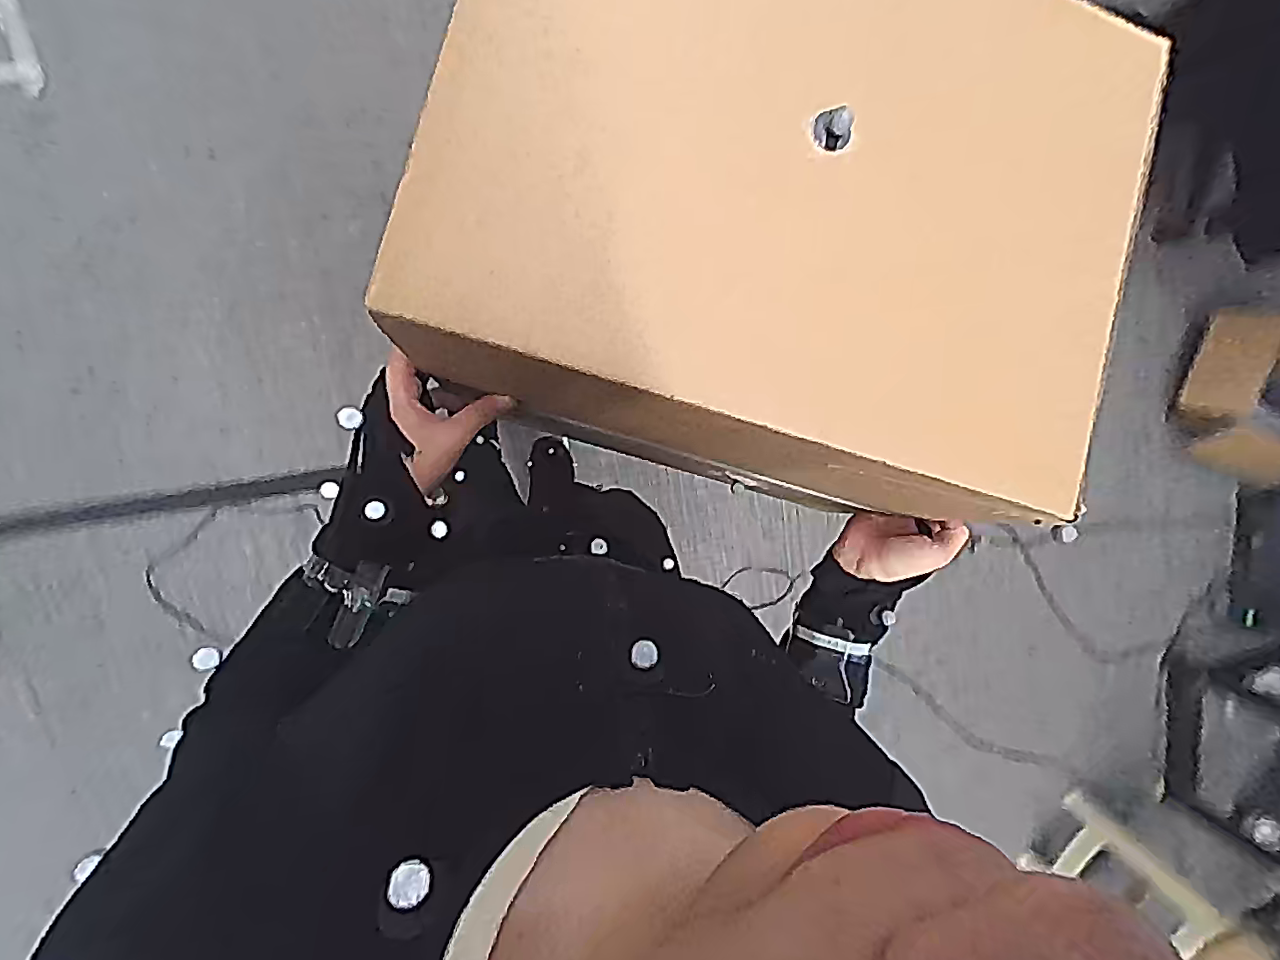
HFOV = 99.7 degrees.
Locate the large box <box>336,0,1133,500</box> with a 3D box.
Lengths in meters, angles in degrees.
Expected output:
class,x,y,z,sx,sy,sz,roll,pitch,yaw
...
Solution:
class,x,y,z,sx,sy,sz,roll,pitch,yaw
large box,0.055,-0.180,0.435,0.408,0.320,0.320,13,88,-8
